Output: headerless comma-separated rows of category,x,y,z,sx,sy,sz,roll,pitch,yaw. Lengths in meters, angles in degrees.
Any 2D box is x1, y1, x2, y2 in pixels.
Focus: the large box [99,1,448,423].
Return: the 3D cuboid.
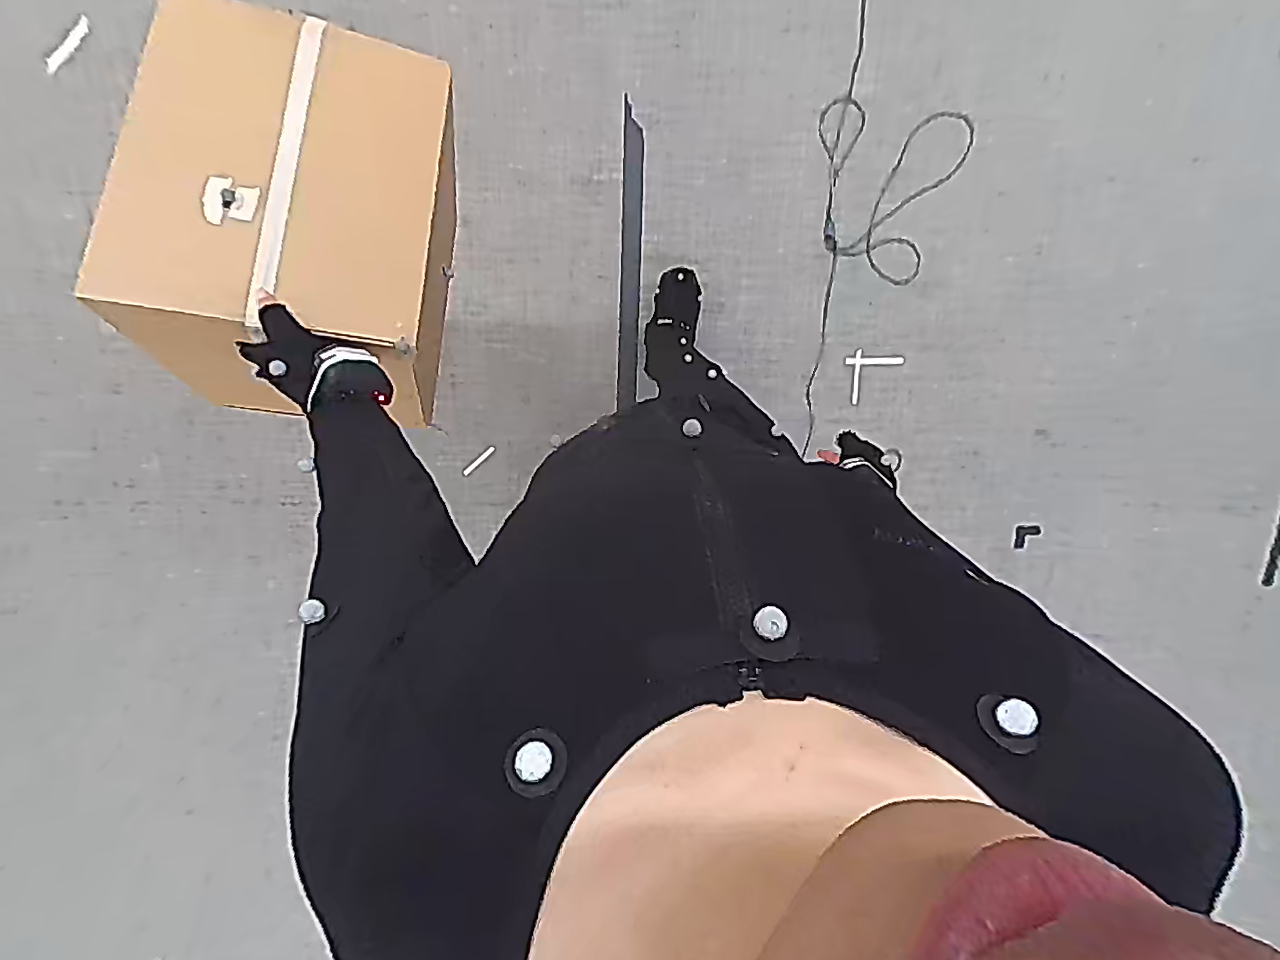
large box,-0.451,-0.329,0.773,0.320,0.320,0.408,5,77,-16
